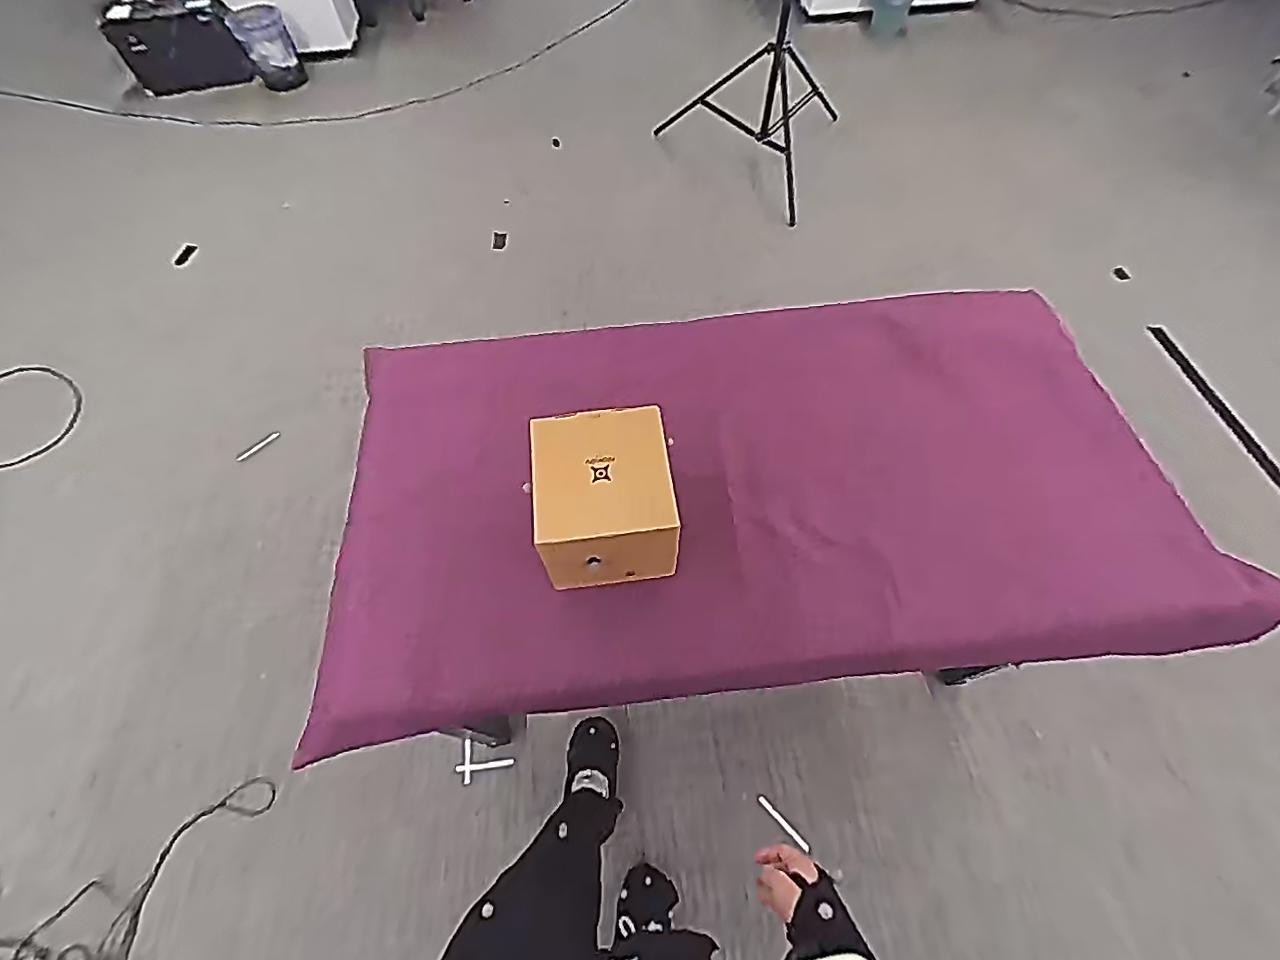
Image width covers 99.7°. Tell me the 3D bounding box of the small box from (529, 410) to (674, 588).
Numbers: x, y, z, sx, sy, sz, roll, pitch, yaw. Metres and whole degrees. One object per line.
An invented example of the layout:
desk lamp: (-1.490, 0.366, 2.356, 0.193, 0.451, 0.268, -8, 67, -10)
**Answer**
small box: (-0.048, 0.034, 0.717, 0.168, 0.176, 0.179, -7, 60, -3)
